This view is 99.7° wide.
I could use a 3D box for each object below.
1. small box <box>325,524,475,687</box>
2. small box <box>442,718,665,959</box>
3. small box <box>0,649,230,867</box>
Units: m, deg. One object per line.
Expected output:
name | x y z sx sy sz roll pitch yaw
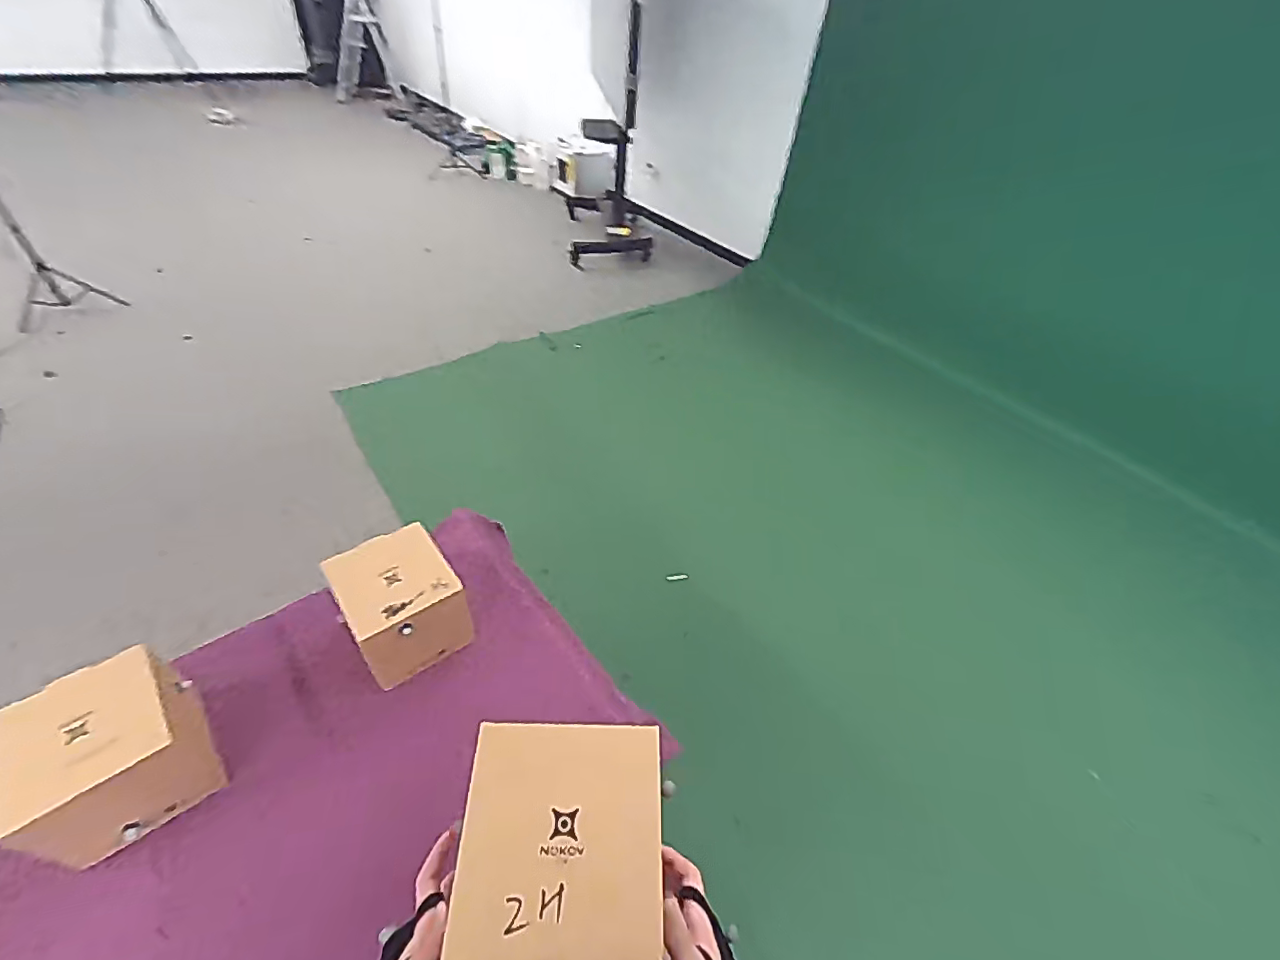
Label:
small box | -0.404 0.215 0.925 0.168 0.176 0.179 -28 53 -29
small box | -0.065 0.340 0.507 0.168 0.176 0.179 2 52 -1
small box | -0.699 0.373 0.728 0.168 0.176 0.179 -29 55 -30
